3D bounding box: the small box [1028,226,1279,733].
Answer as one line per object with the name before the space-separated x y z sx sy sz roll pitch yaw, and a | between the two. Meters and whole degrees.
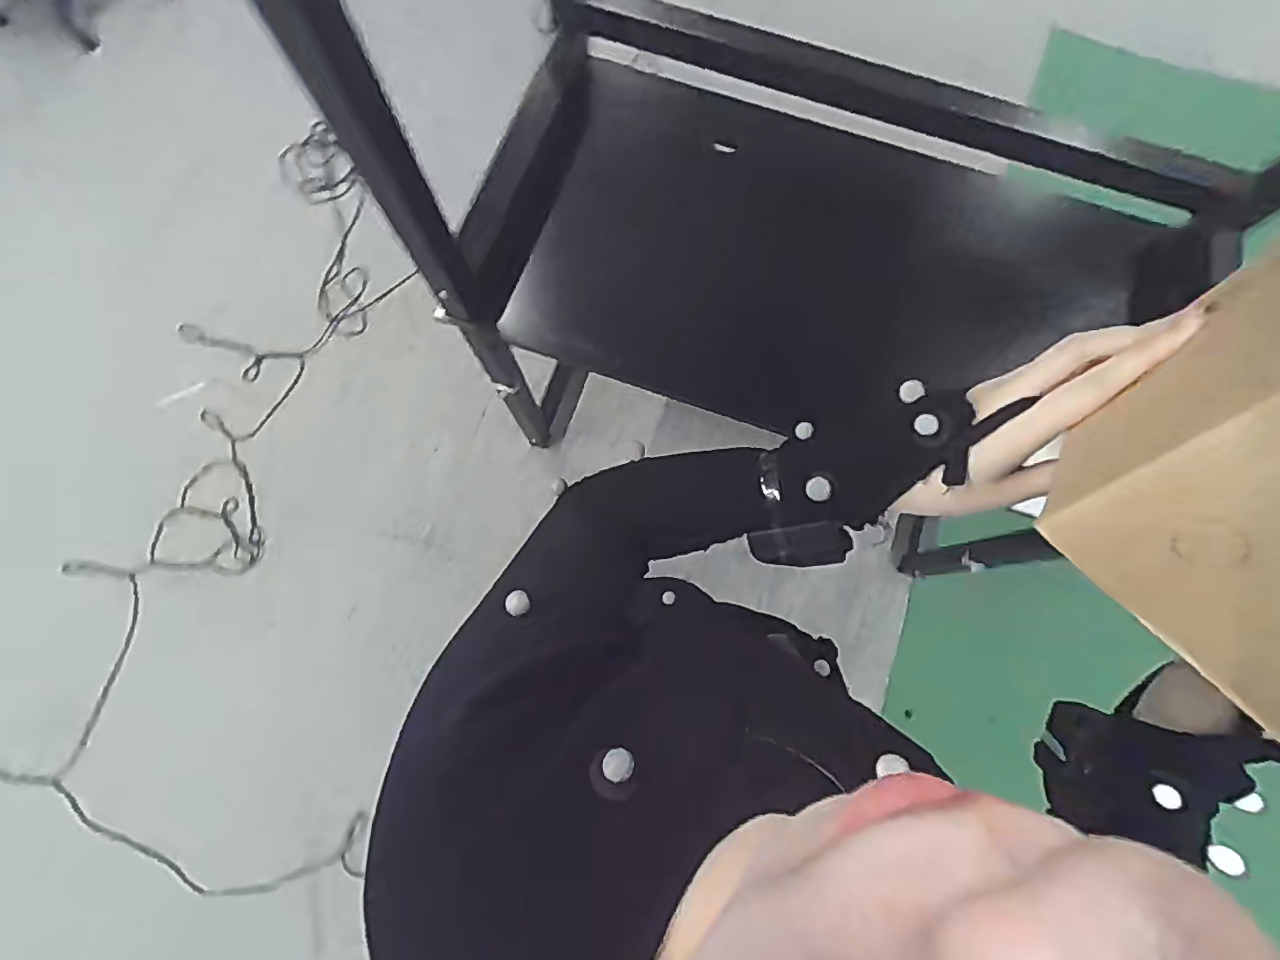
small box | 0.288 -0.012 0.191 0.179 0.168 0.176 45 48 10
